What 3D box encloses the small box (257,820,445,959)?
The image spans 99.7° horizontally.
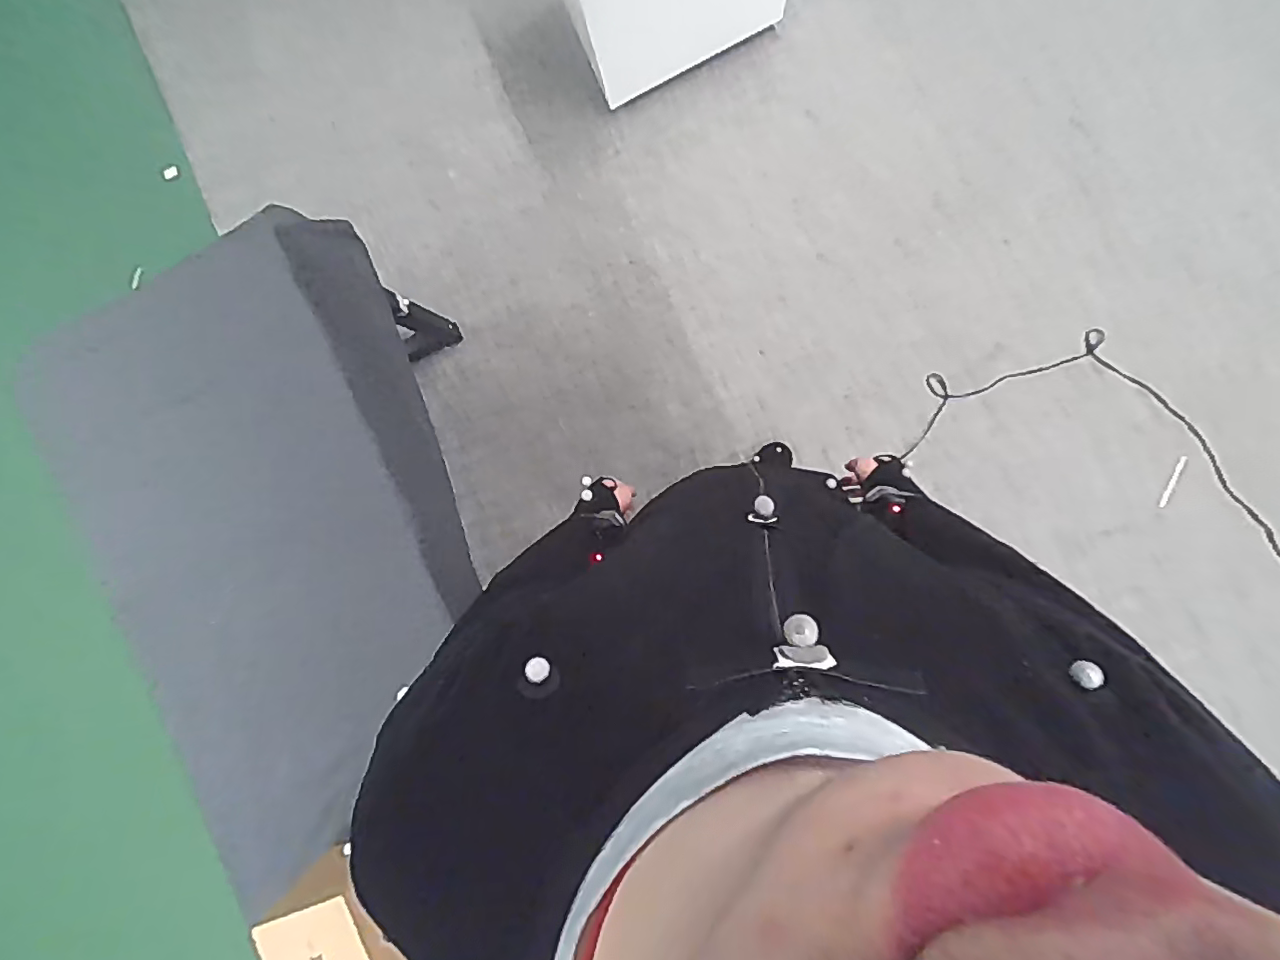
[{"bbox_3d":[-0.444,0.694,0.860,0.168,0.176,0.179,-24,90,7],"label":"small box"}]
